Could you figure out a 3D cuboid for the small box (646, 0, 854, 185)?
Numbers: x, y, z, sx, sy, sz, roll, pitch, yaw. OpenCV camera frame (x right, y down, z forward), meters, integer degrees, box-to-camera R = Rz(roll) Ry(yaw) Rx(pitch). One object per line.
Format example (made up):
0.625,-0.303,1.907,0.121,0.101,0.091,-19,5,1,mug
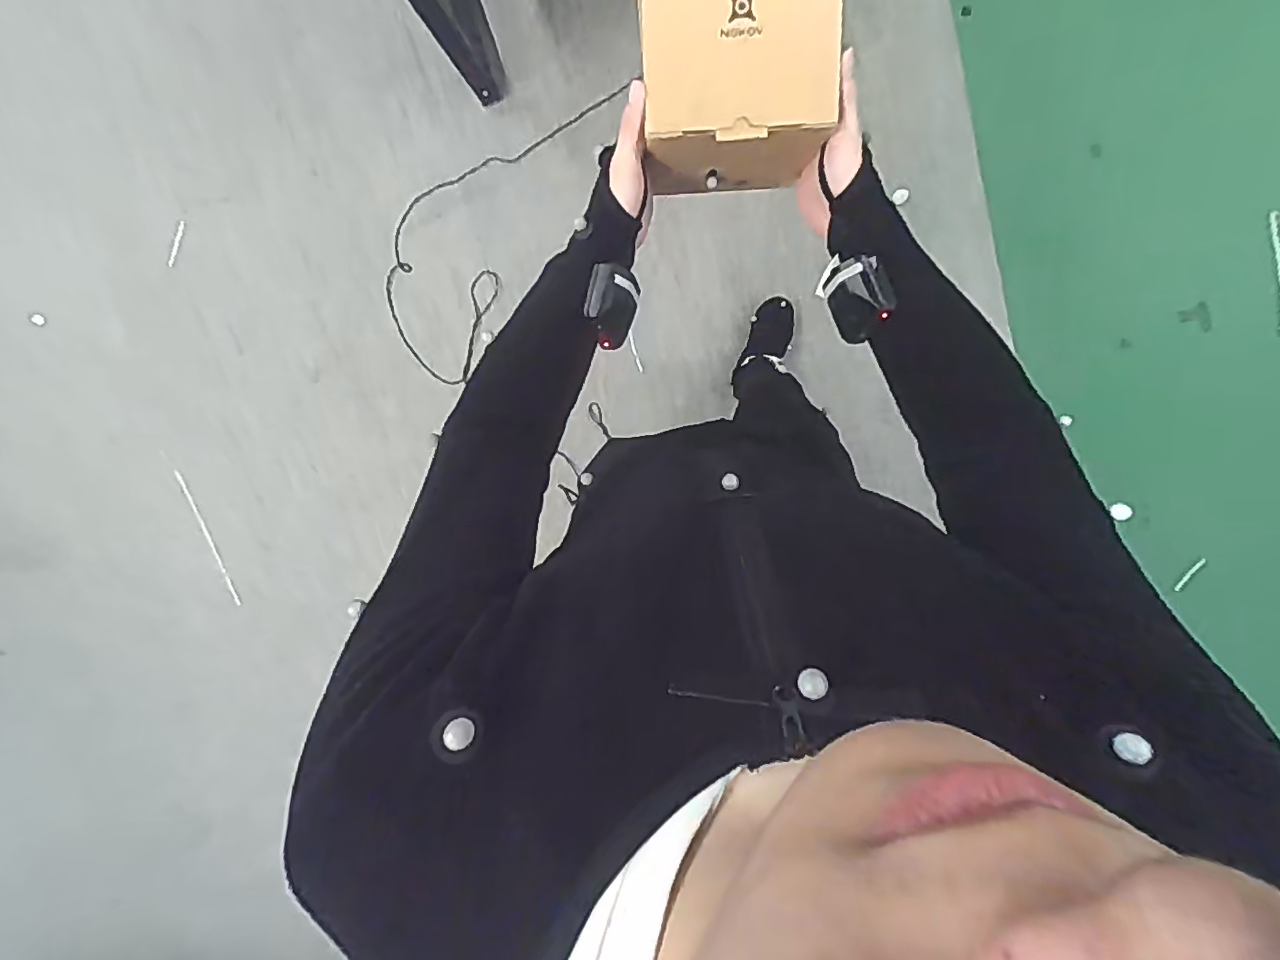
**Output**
0.091,-0.405,0.515,0.168,0.176,0.179,-3,104,1,small box
